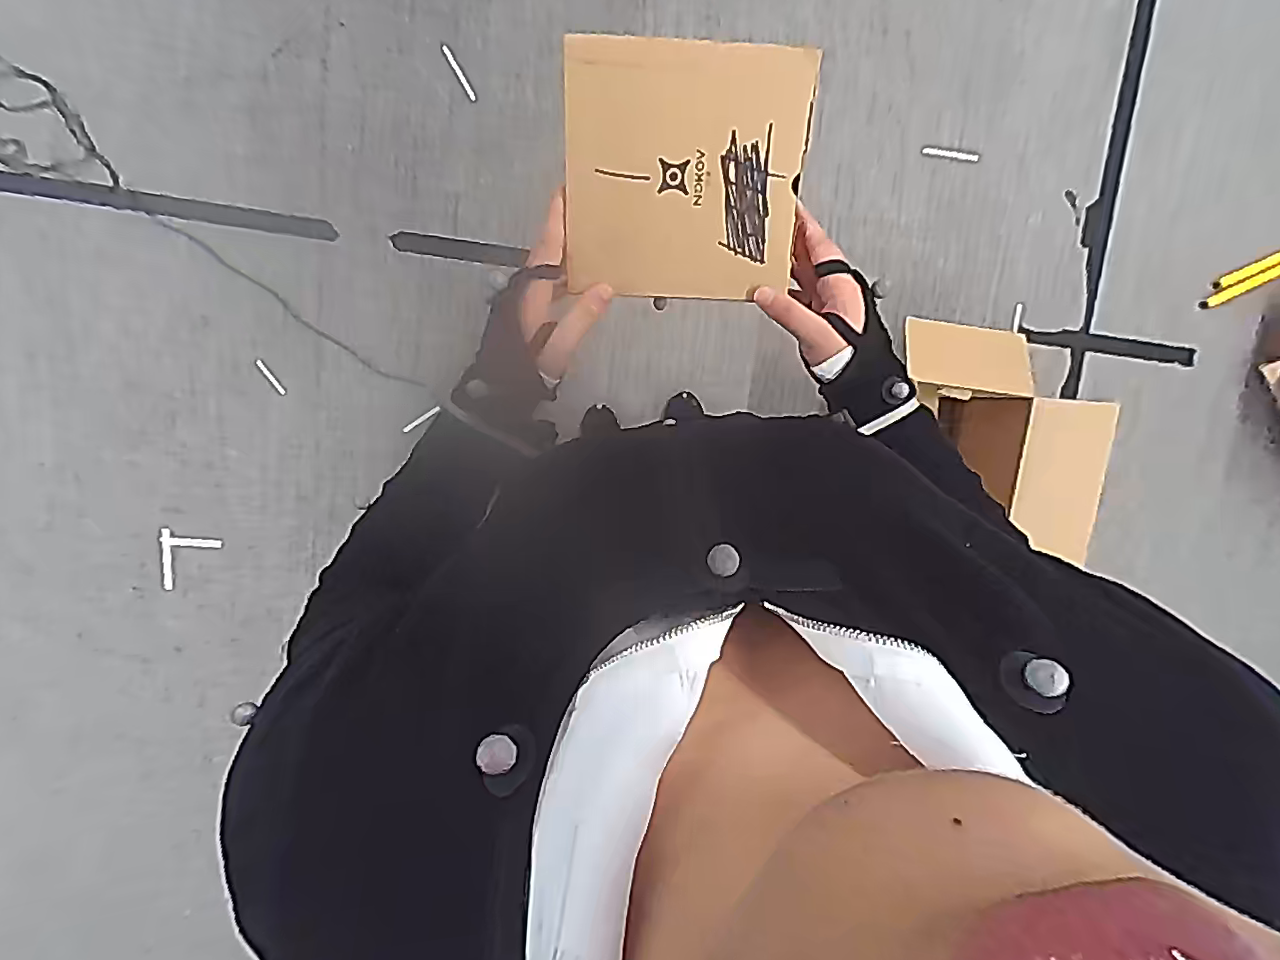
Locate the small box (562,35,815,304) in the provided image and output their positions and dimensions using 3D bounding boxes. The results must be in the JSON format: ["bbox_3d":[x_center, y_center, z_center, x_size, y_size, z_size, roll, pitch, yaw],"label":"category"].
[{"bbox_3d":[0.027,-0.249,0.468,0.179,0.176,0.168,2,112,-2],"label":"small box"}]
